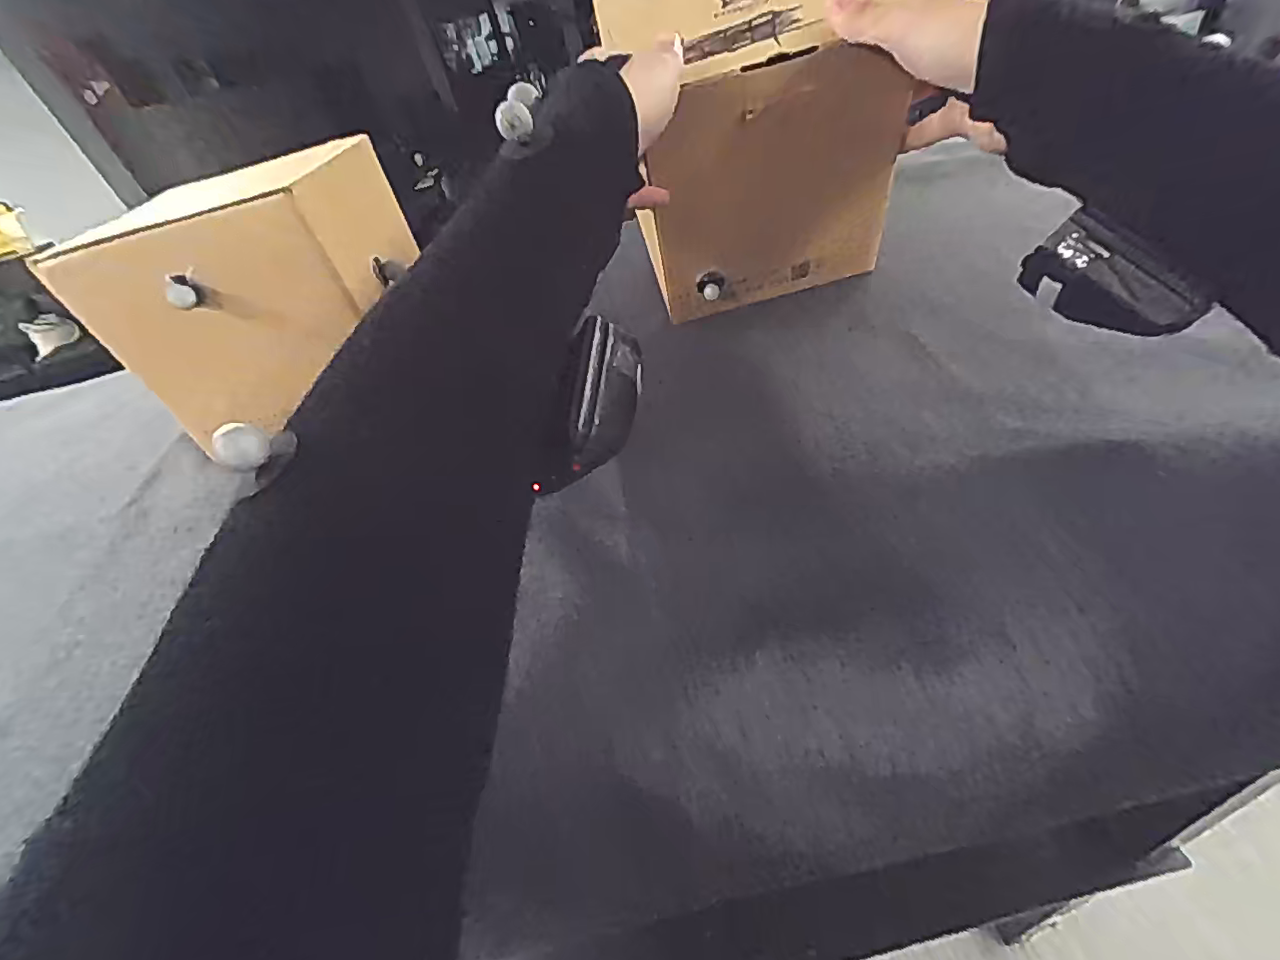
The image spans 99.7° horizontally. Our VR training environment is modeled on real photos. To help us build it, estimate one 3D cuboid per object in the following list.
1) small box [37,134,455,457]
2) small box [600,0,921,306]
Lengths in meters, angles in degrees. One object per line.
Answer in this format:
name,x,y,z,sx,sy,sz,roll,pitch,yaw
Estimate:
small box,-0.270,-0.144,0.431,0.179,0.176,0.168,-13,42,4
small box,0.077,-0.254,0.409,0.168,0.176,0.179,-14,56,3
